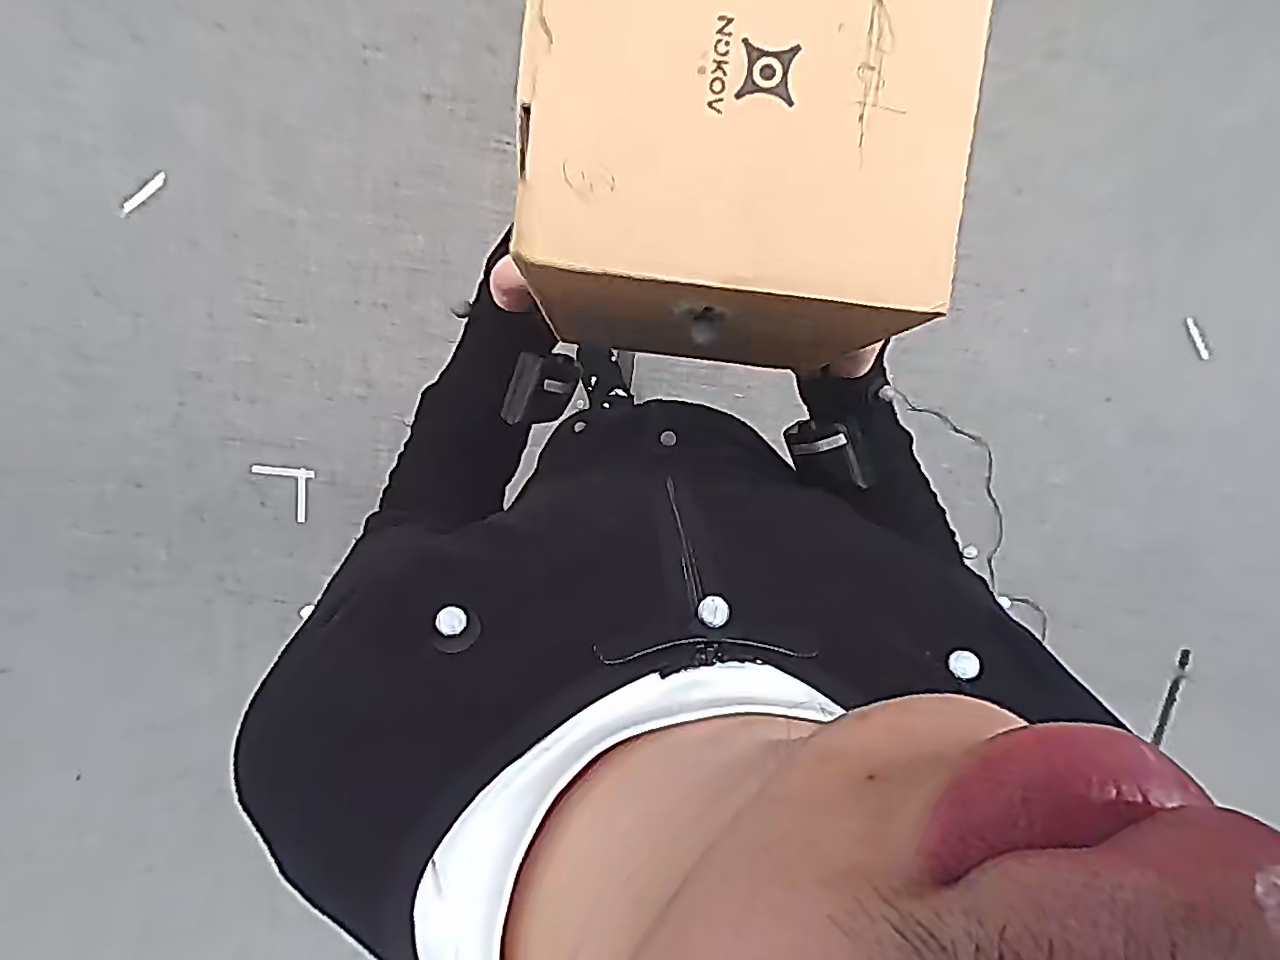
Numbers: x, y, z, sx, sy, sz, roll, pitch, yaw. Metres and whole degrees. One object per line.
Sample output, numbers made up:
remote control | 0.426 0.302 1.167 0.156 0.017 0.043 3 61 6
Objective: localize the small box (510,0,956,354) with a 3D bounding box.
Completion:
small box | 0.037 -0.169 0.299 0.179 0.176 0.168 5 94 -3
